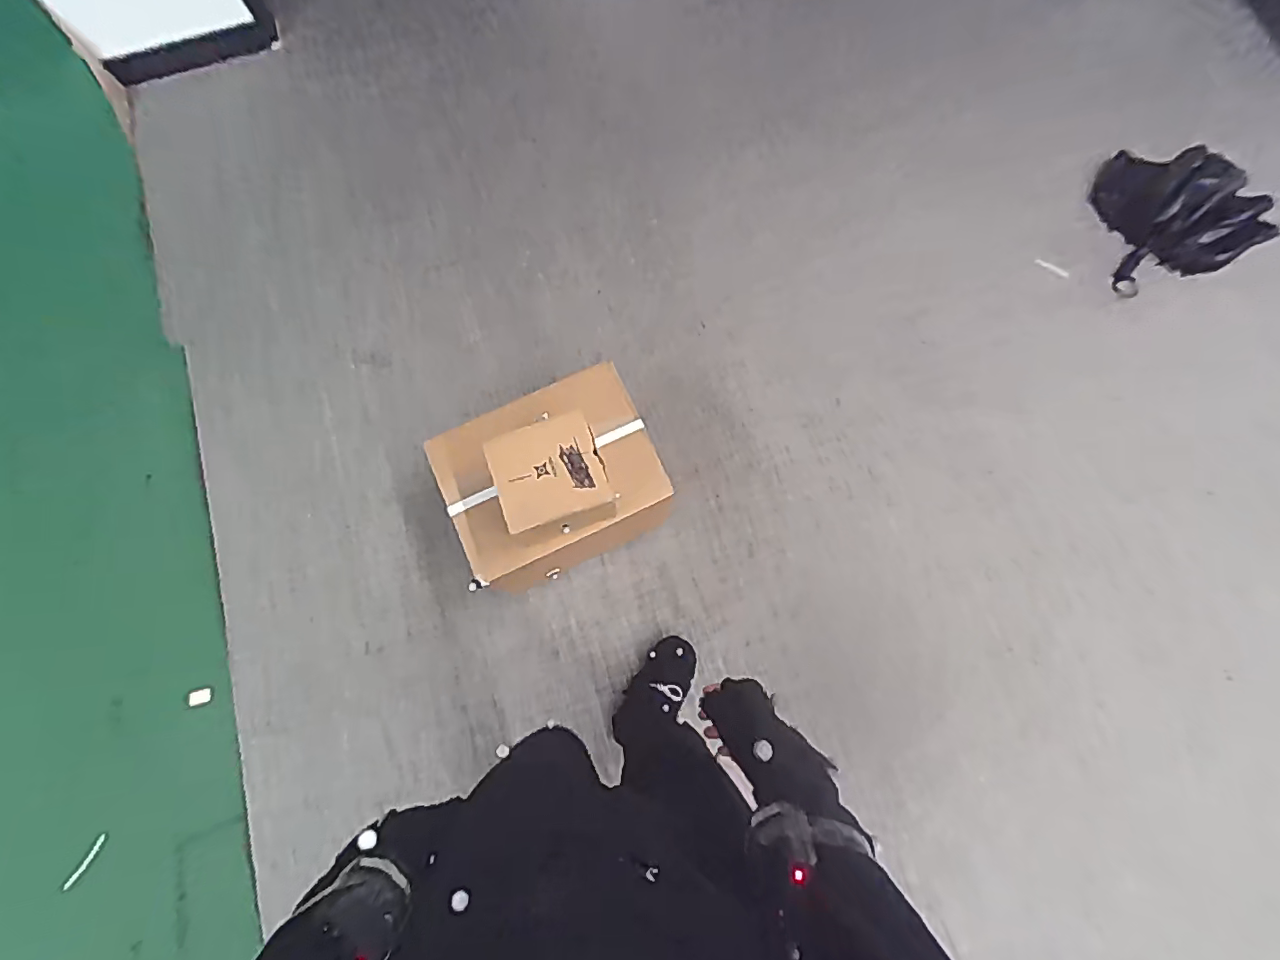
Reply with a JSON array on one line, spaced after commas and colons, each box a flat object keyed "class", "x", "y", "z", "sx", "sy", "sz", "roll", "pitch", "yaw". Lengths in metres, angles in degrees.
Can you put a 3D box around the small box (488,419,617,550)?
[{"class": "small box", "x": -0.145, "y": 0.016, "z": 0.957, "sx": 0.179, "sy": 0.176, "sz": 0.168, "roll": -19, "pitch": 77, "yaw": -4}]
